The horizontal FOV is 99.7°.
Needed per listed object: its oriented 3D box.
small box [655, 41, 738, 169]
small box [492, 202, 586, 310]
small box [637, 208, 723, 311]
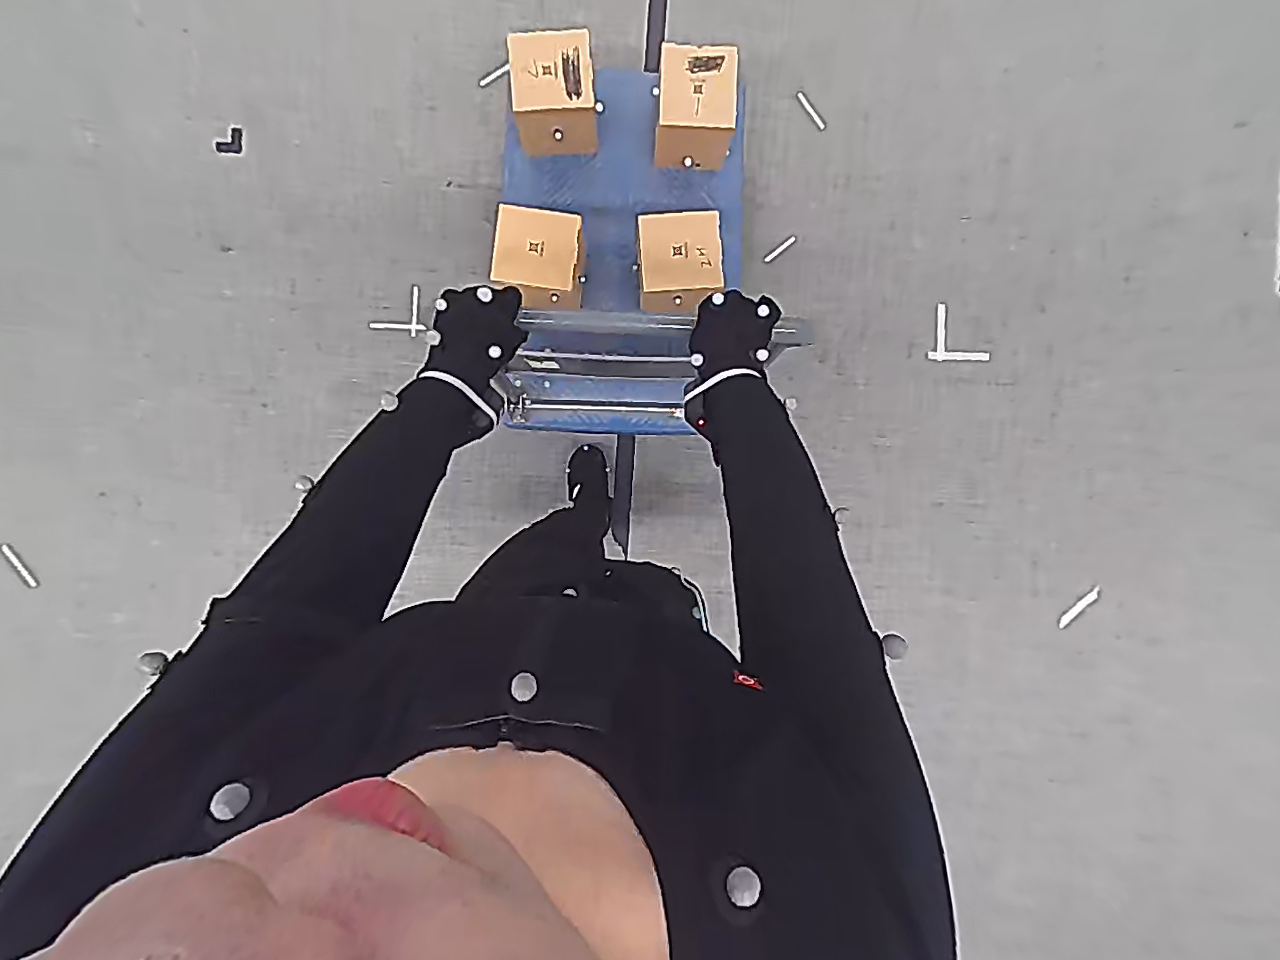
[{"bbox_3d":[0.123,-0.847,1.233,0.168,0.176,0.179,2,91,-2],"label":"small box"},{"bbox_3d":[-0.222,-0.498,1.225,0.179,0.176,0.168,7,89,-3],"label":"small box"},{"bbox_3d":[0.086,-0.494,1.233,0.179,0.176,0.168,-4,90,-1],"label":"small box"}]
